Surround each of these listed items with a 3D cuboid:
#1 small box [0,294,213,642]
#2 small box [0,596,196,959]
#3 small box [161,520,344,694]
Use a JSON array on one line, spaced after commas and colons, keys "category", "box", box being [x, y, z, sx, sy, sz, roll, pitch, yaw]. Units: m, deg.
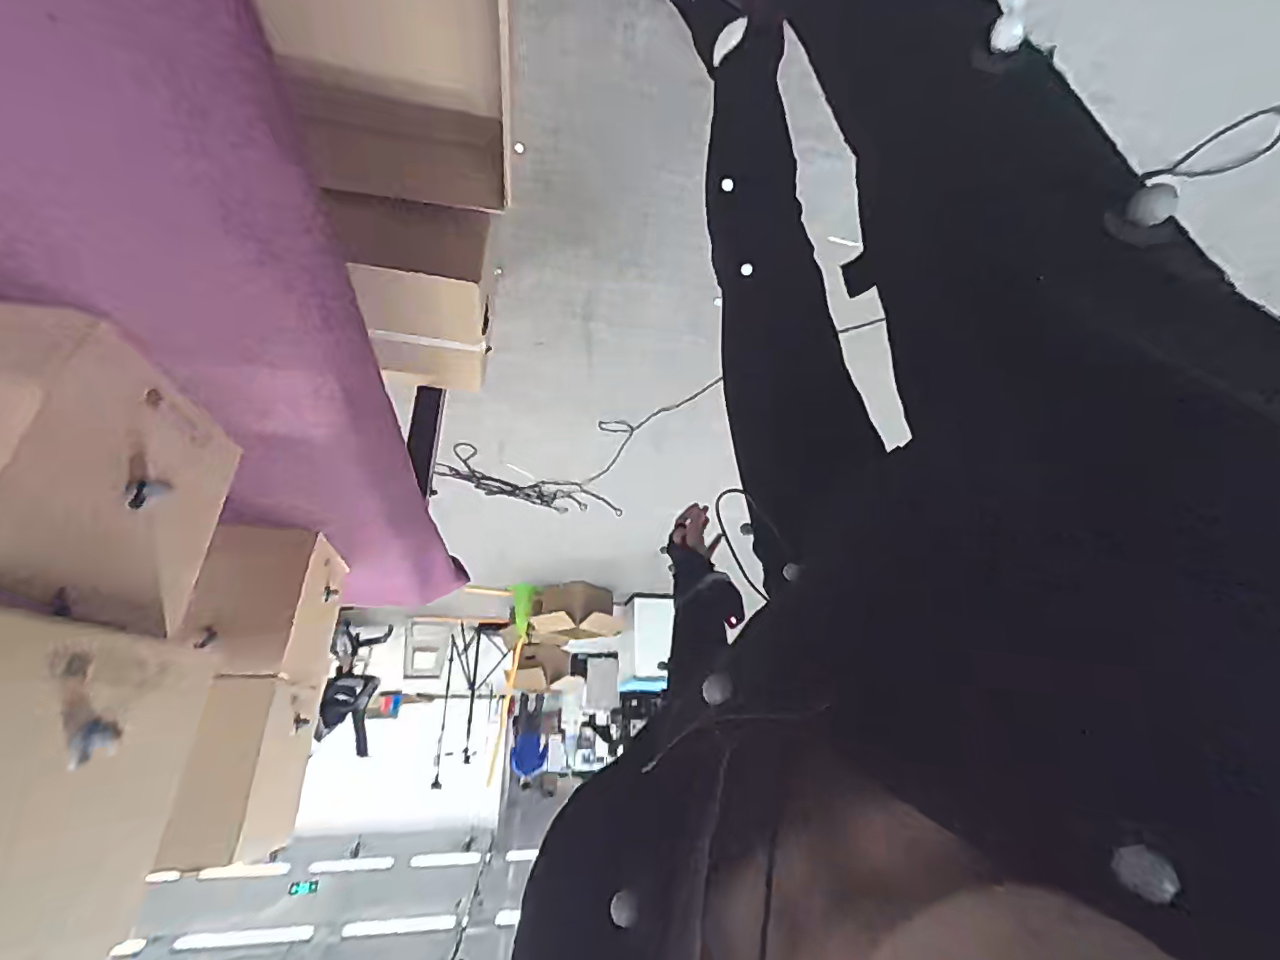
[{"category": "small box", "box": [-0.401, 0.001, 0.324, 0.179, 0.176, 0.168, 3, 154, -8]}, {"category": "small box", "box": [-0.378, 0.154, 0.262, 0.179, 0.176, 0.168, 0, 155, -2]}, {"category": "small box", "box": [-0.477, 0.152, 0.637, 0.179, 0.176, 0.168, 5, 153, -13]}]
